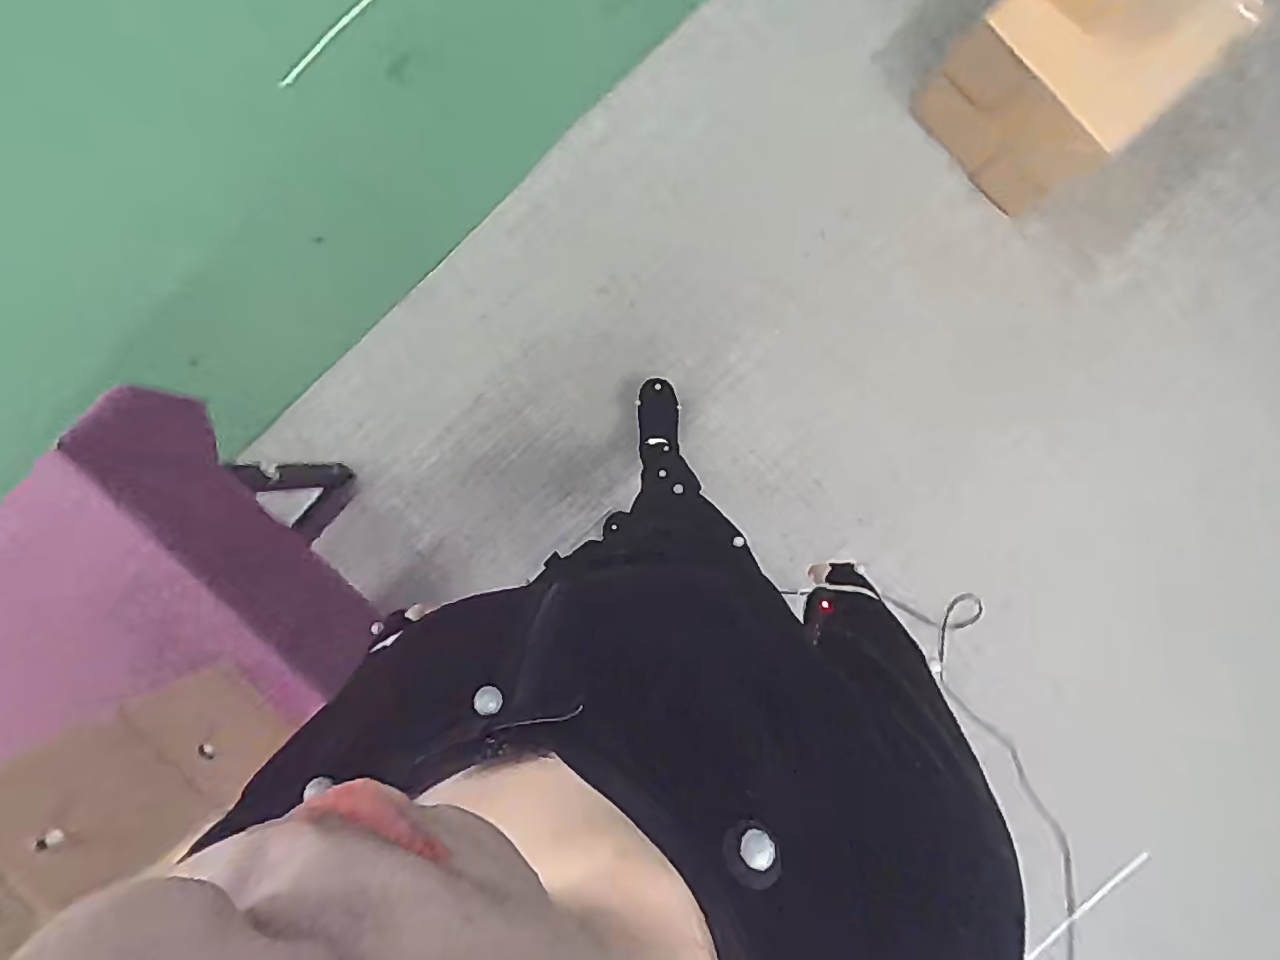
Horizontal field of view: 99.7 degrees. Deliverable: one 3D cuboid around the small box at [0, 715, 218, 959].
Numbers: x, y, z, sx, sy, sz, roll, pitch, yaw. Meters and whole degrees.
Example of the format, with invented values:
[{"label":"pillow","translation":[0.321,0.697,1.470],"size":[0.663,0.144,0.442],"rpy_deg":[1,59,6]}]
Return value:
[{"label":"small box","translation":[-0.607,0.375,0.558],"size":[0.179,0.176,0.168],"rpy_deg":[44,93,-1]}]
